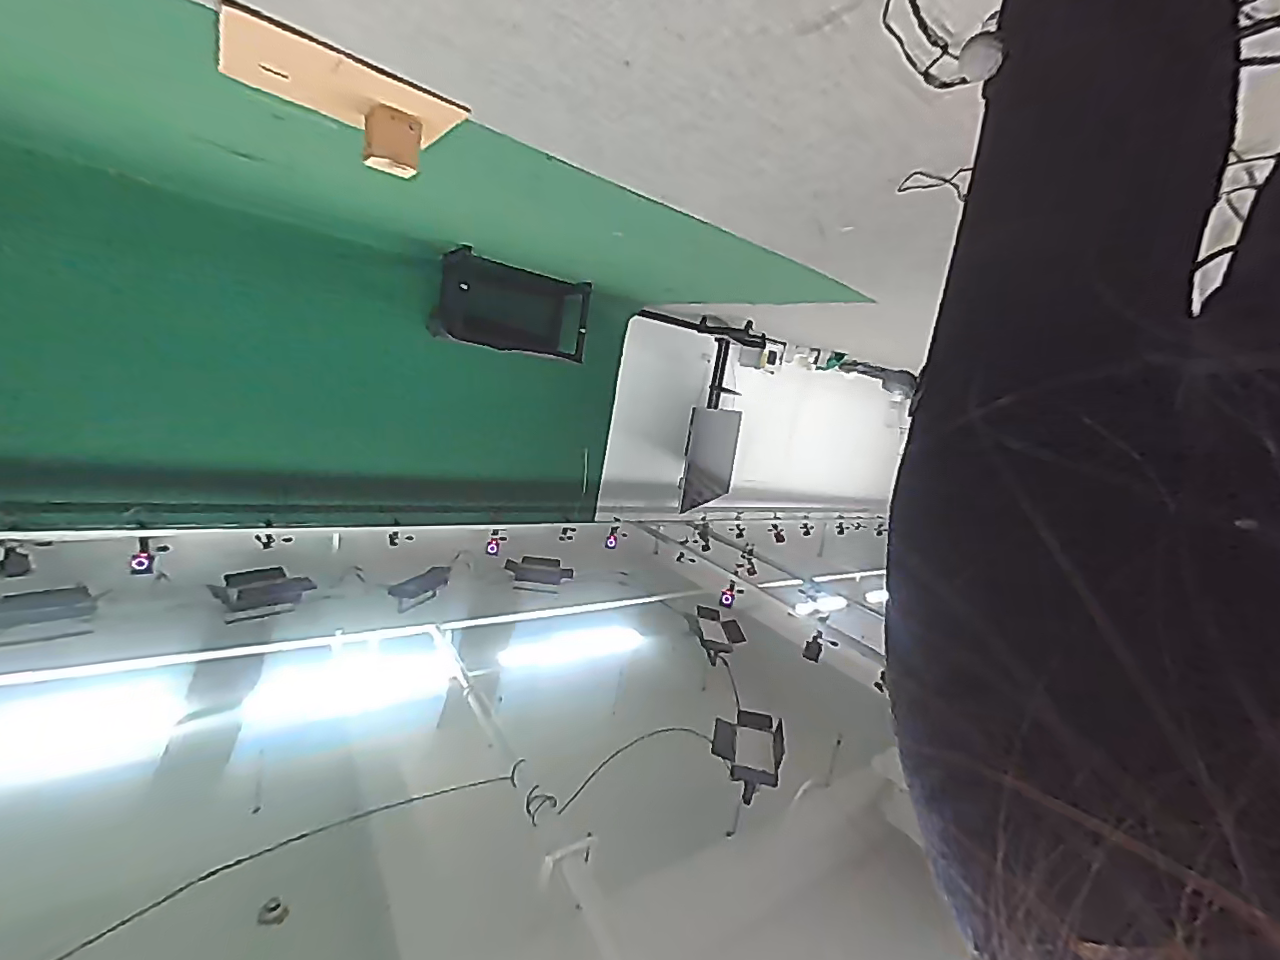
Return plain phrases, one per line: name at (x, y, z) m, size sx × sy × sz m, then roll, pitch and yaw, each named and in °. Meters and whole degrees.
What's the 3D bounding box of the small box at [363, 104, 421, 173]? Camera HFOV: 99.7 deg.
small box at (-0.949, -1.306, 2.069) m, size 0.168 × 0.176 × 0.179 m, roll 1°, pitch -165°, yaw -40°
